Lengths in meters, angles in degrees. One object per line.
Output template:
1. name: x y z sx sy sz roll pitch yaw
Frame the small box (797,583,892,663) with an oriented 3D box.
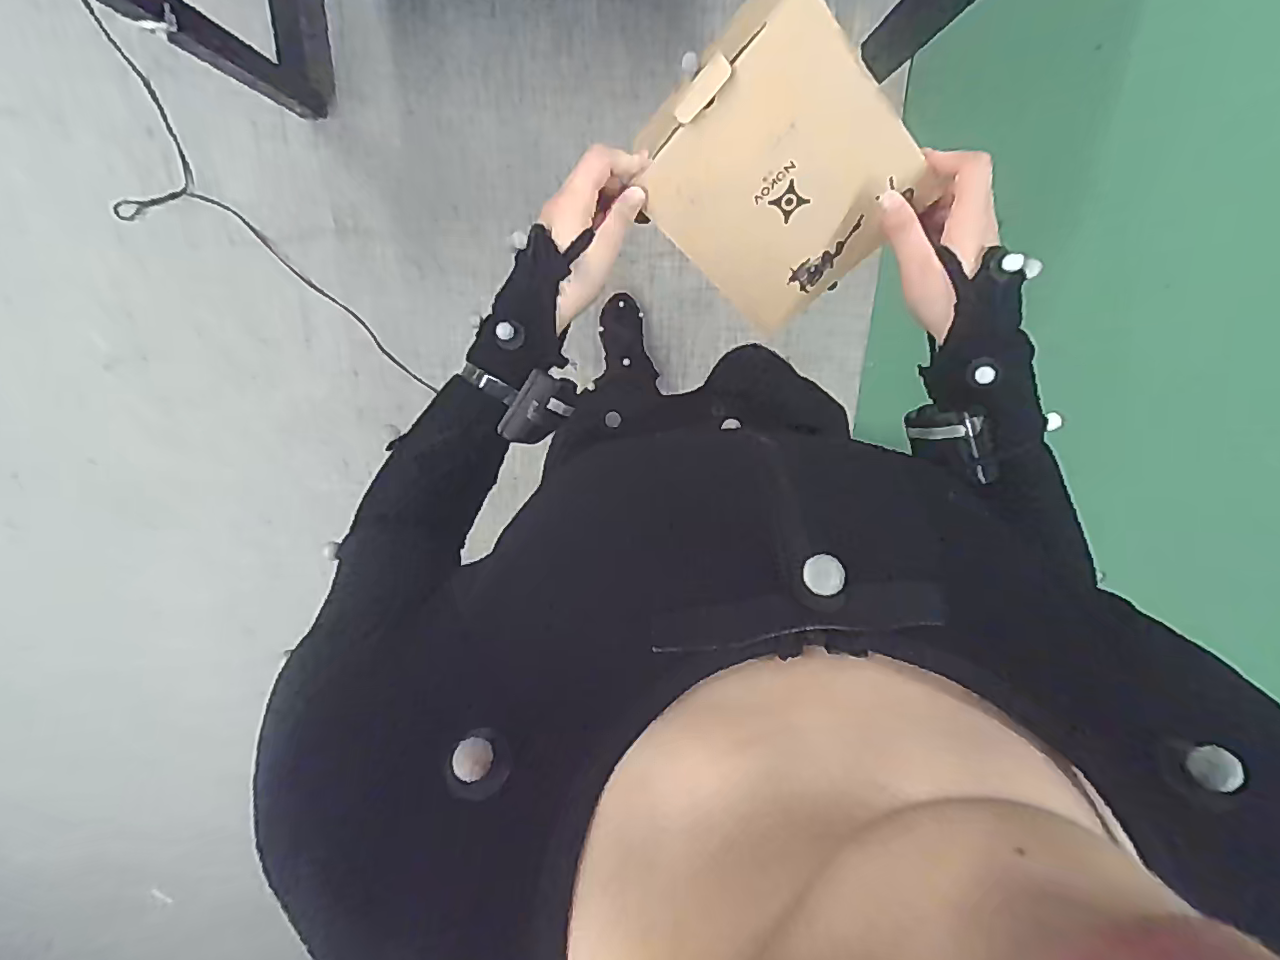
1. small box: 0.564 0.406 1.515 0.179 0.176 0.168 10 106 -3
